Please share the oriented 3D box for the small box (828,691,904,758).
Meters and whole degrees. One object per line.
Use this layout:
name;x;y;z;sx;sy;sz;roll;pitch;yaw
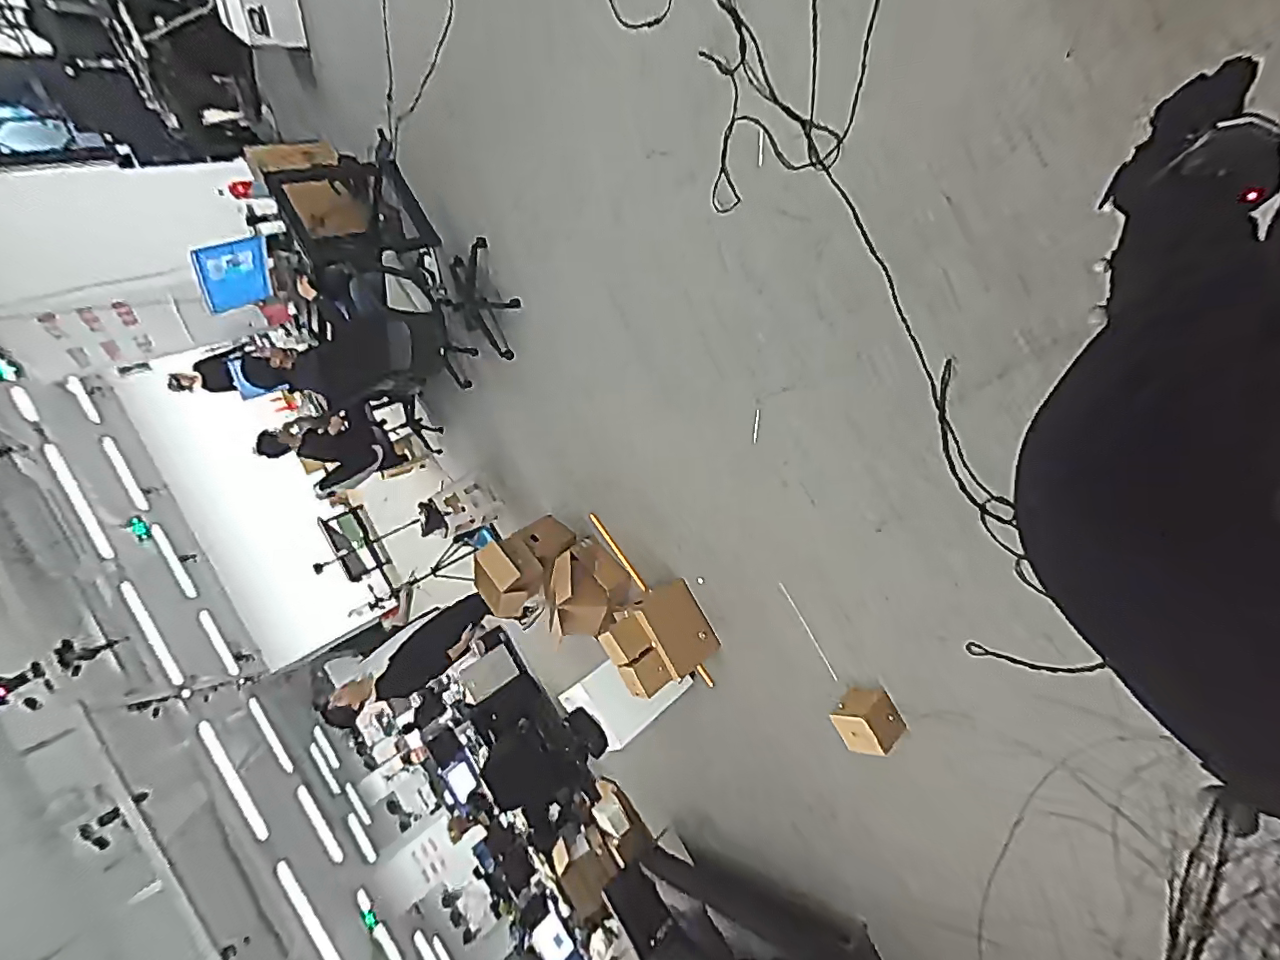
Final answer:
small box;0.878;0.941;2.096;0.168;0.176;0.179;59;146;1
